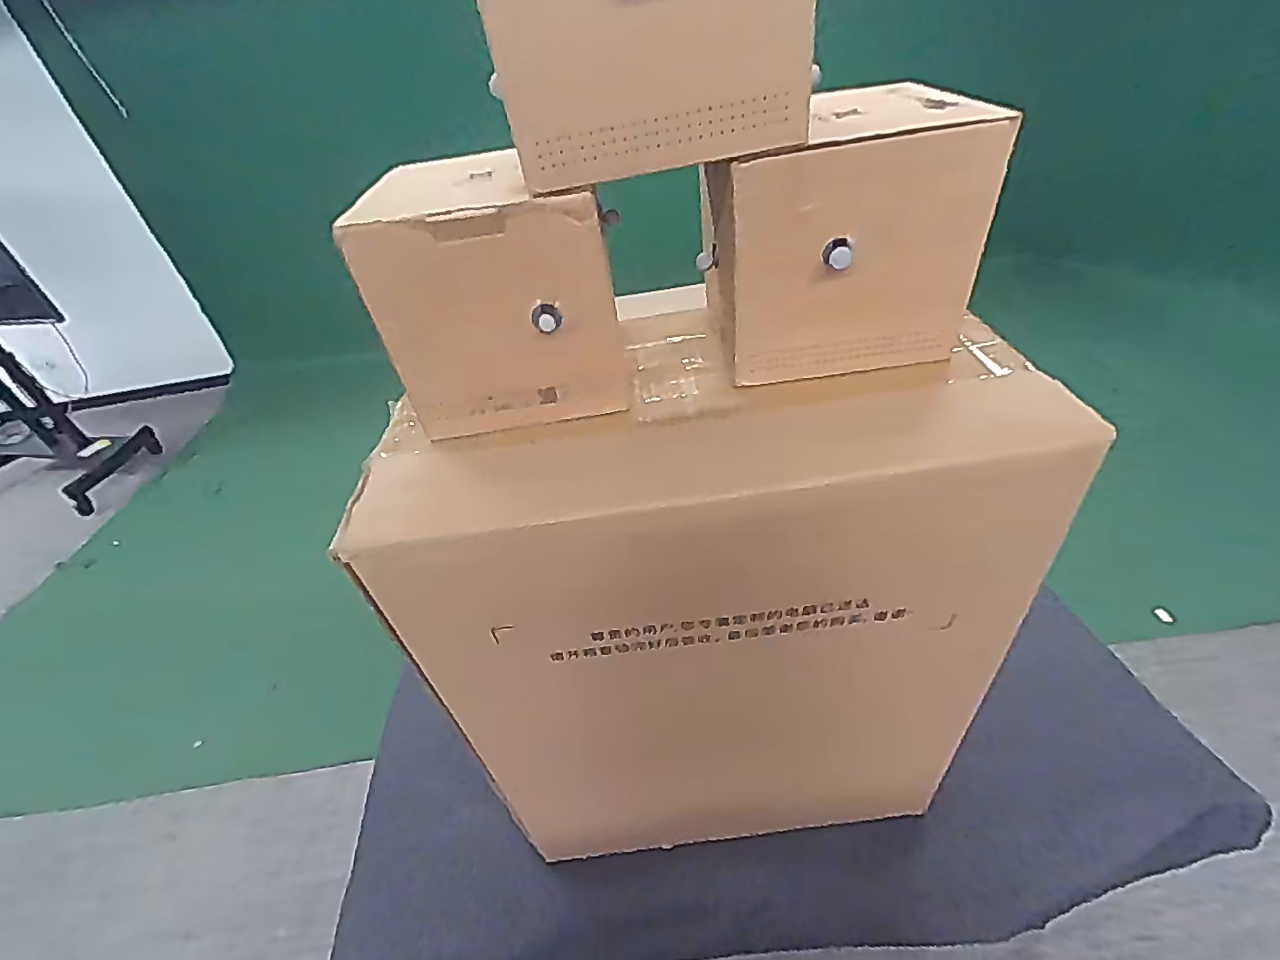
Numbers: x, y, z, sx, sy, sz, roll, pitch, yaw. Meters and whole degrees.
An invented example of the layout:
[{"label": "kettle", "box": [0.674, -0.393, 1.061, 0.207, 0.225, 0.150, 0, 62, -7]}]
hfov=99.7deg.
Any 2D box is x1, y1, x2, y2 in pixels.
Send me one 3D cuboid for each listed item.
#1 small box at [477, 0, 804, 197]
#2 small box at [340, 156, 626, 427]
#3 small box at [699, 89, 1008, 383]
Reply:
[{"label": "small box", "box": [-0.002, -0.298, 0.338, 0.179, 0.176, 0.168, -10, 41, 2]}, {"label": "small box", "box": [-0.105, -0.156, 0.450, 0.168, 0.176, 0.179, -8, 40, 0]}, {"label": "small box", "box": [0.148, -0.195, 0.443, 0.179, 0.176, 0.168, -8, 42, 3]}]
